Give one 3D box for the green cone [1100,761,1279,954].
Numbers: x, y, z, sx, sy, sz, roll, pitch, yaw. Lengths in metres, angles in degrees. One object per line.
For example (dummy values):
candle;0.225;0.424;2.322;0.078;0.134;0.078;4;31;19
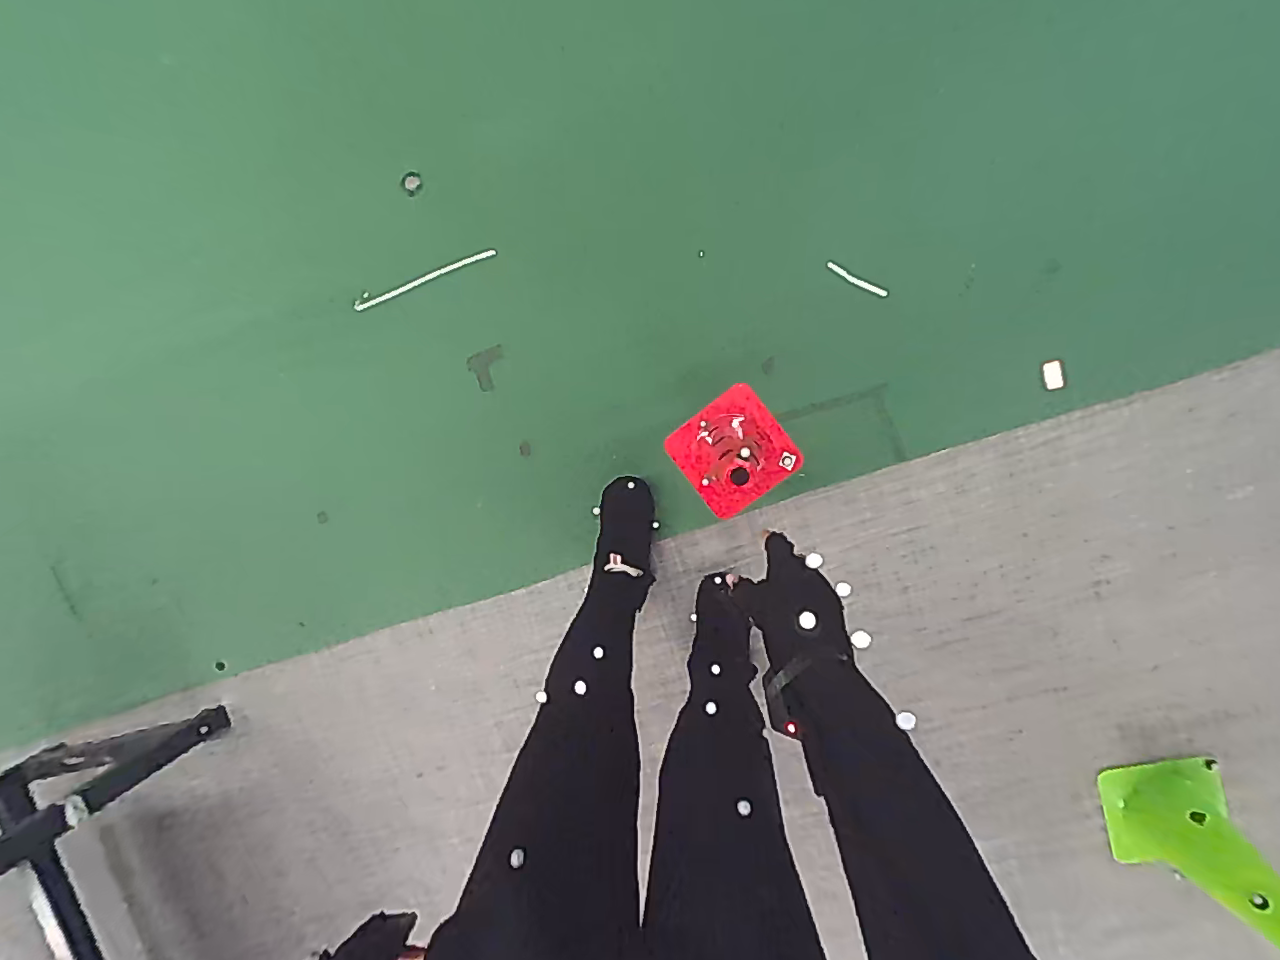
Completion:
green cone;0.954;0.650;0.840;0.200;0.368;0.202;-16;95;10
